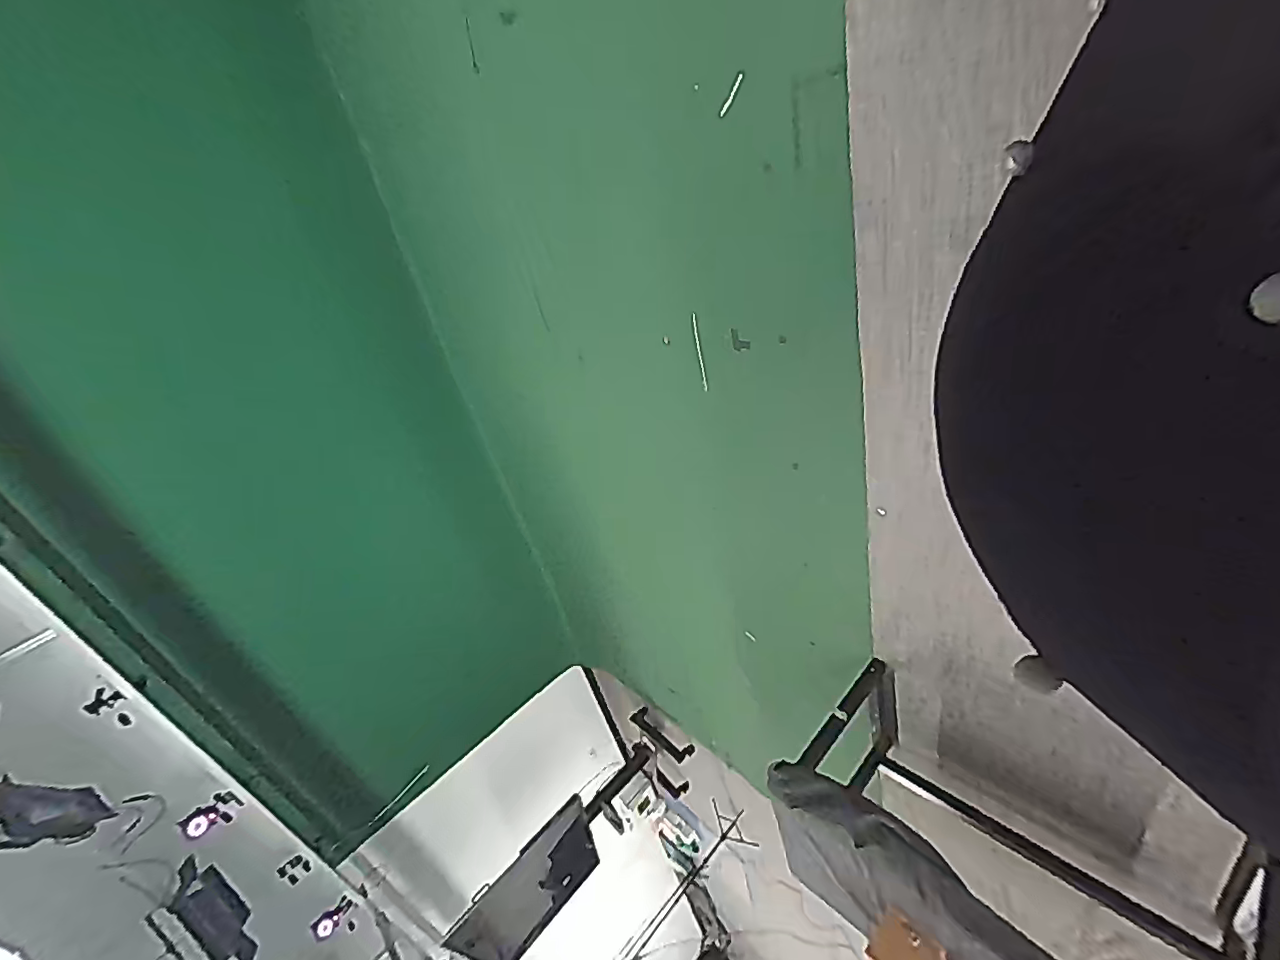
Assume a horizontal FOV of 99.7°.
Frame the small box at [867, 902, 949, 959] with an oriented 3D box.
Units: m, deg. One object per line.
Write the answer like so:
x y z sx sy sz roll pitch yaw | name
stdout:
0.811 1.438 1.627 0.168 0.176 0.179 12 130 47 | small box
